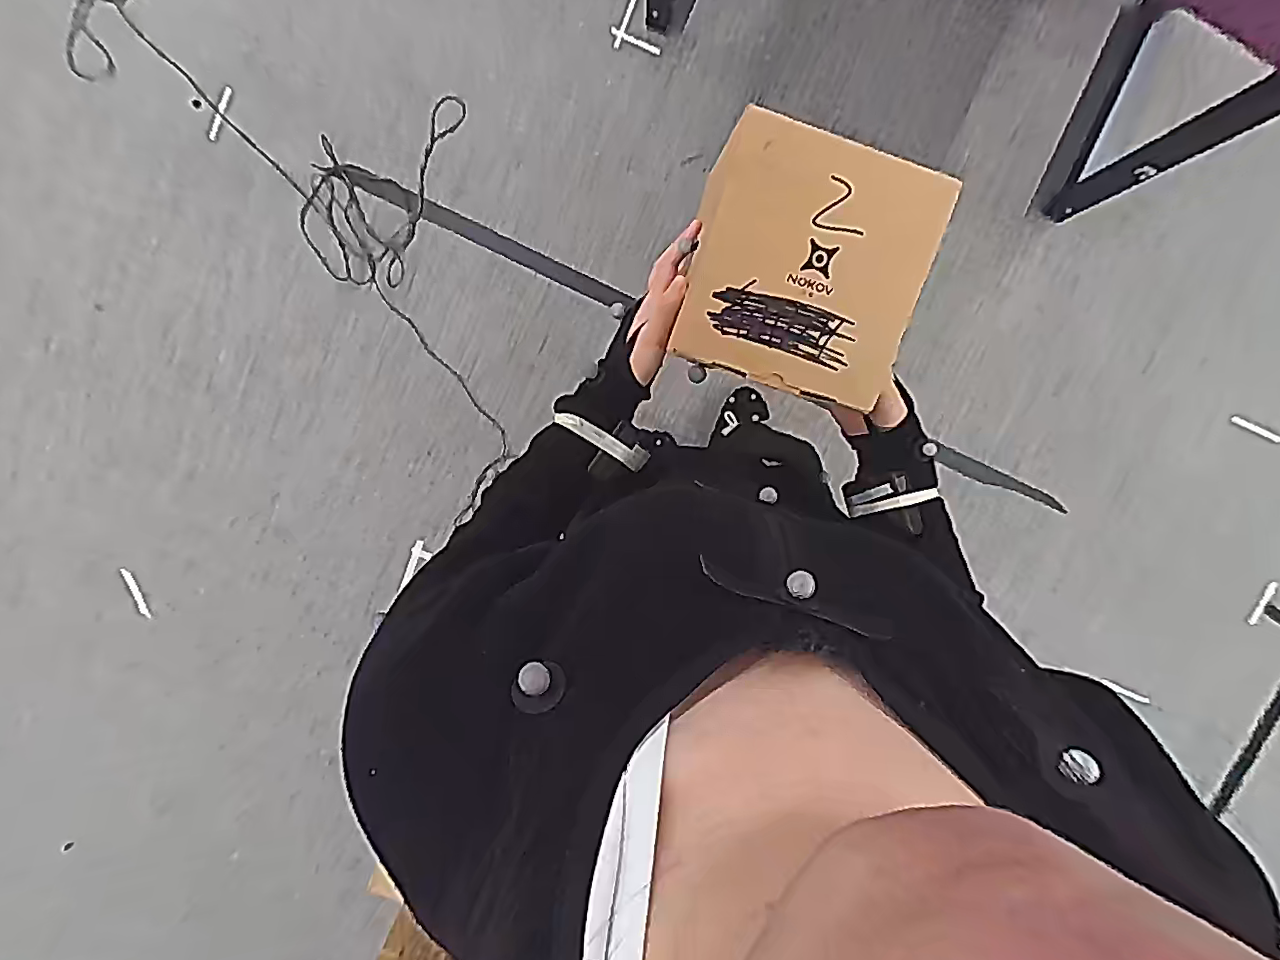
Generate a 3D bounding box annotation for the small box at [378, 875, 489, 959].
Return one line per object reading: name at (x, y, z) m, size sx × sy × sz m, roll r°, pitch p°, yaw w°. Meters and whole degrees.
small box at (-0.411, 0.926, 1.052) m, size 0.168 × 0.176 × 0.179 m, roll 20°, pitch 96°, yaw -1°
